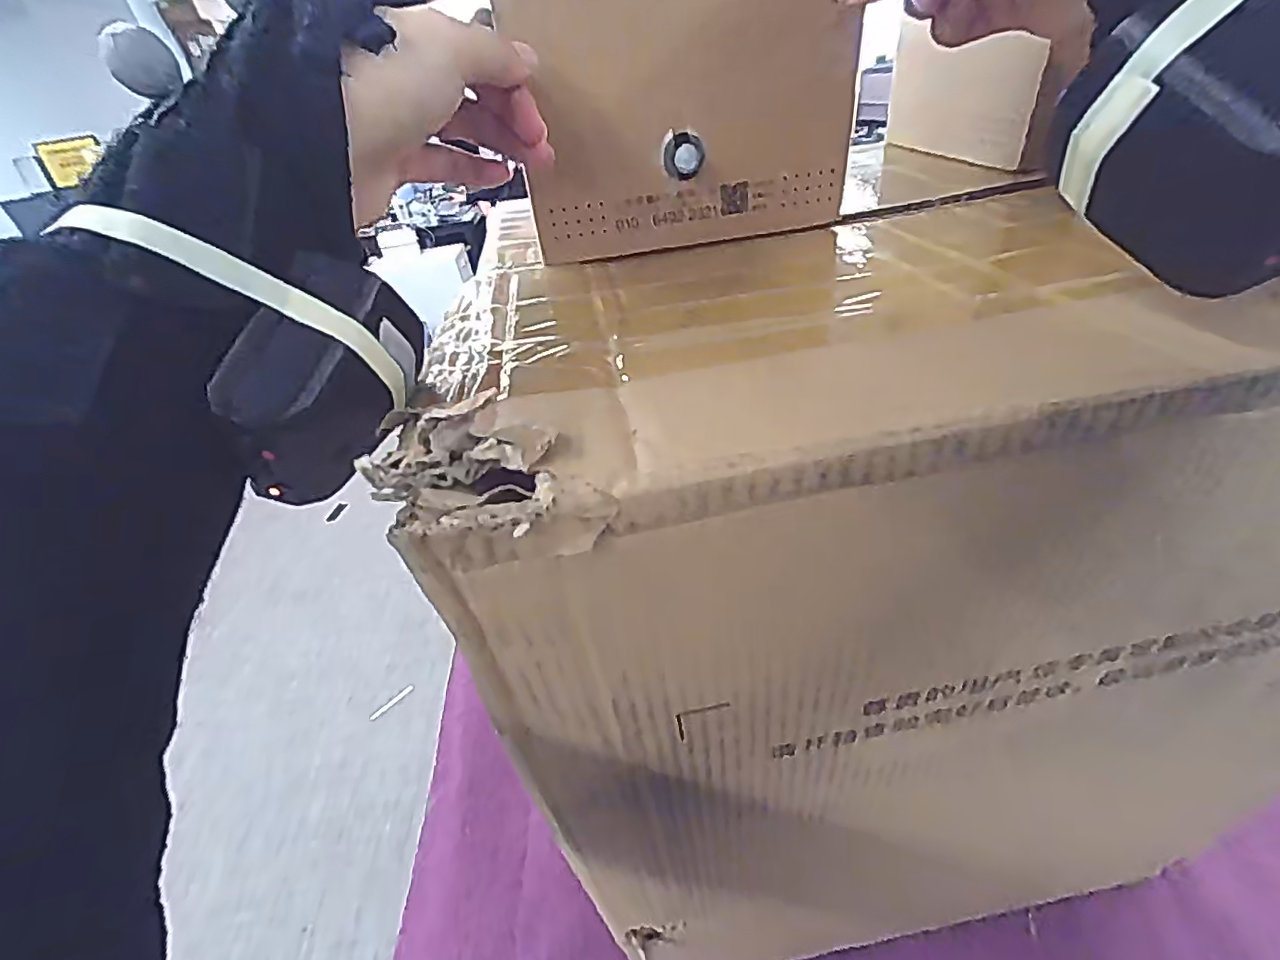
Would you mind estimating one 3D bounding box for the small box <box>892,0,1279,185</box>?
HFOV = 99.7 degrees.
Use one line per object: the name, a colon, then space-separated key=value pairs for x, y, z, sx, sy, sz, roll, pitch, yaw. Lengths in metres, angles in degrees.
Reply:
small box: x=0.286 y=-0.303 z=0.349 sx=0.168 sy=0.176 sz=0.179 roll=-10 pitch=38 yaw=0
